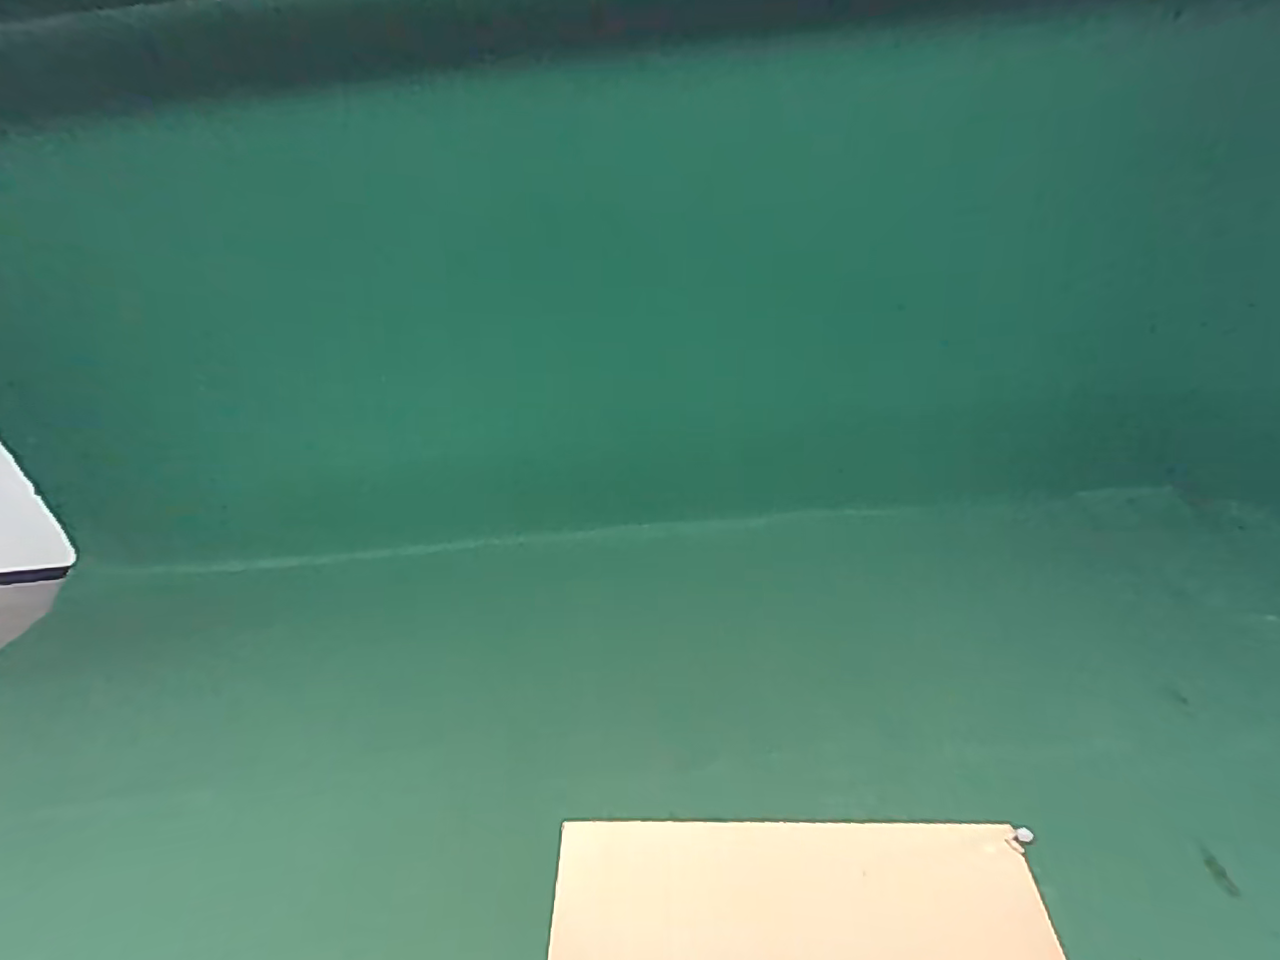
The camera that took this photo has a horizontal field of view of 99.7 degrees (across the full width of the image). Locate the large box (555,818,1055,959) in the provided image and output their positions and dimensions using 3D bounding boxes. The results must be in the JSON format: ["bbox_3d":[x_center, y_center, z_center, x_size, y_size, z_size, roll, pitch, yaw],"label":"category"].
[{"bbox_3d":[0.134,0.532,0.497,0.408,0.320,0.320,-2,45,3],"label":"large box"}]
